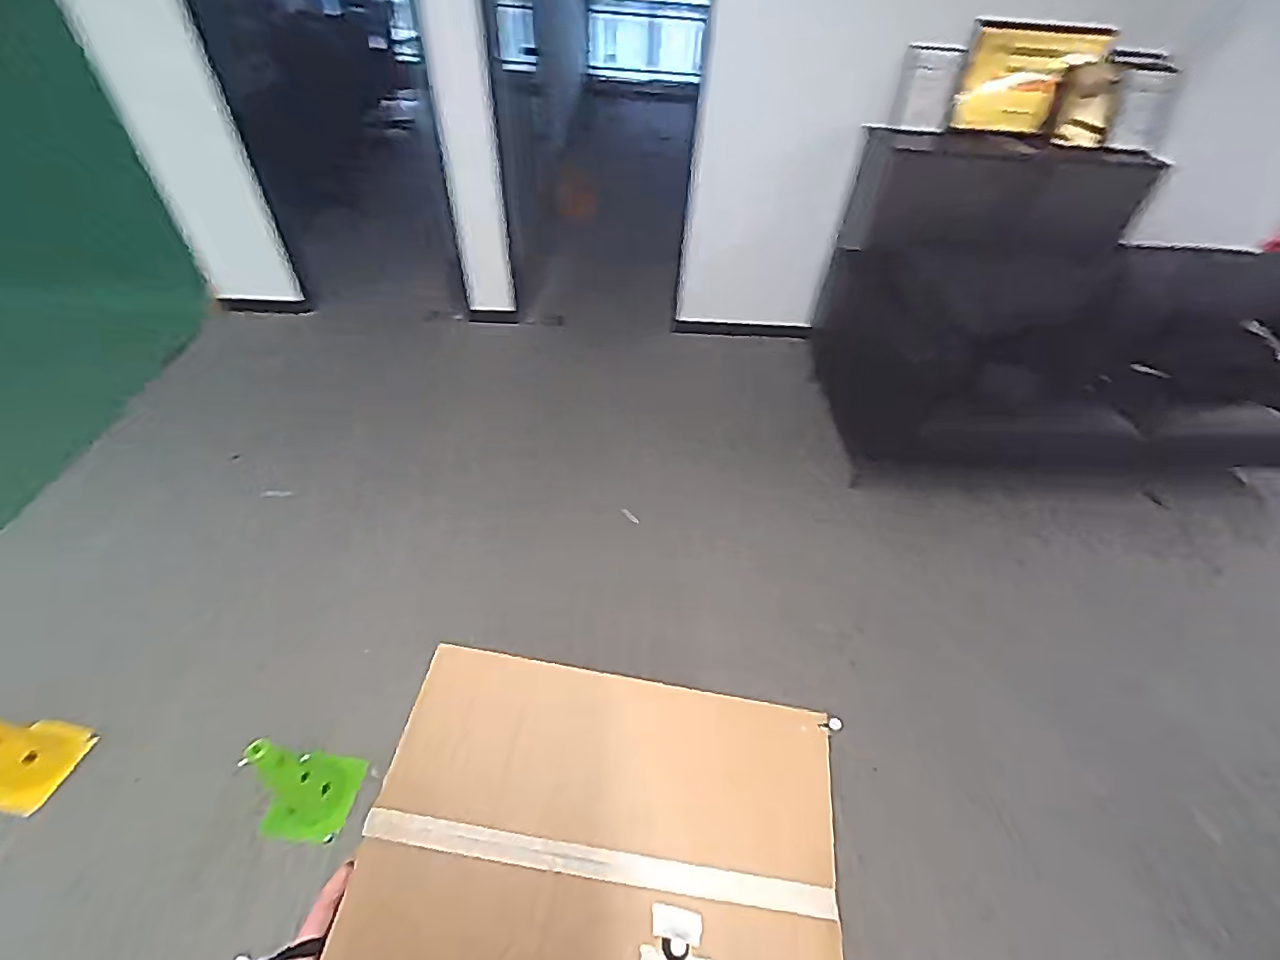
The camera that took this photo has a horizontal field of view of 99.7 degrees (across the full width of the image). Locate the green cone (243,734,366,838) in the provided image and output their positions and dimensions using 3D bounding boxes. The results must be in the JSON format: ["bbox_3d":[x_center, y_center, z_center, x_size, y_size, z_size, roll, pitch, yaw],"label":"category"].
[{"bbox_3d":[-0.847,0.698,1.306,0.202,0.368,0.200,6,44,3],"label":"green cone"}]

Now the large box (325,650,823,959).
[{"bbox_3d":[-0.055,0.413,0.593,0.408,0.320,0.320,10,54,-1],"label":"large box"}]
